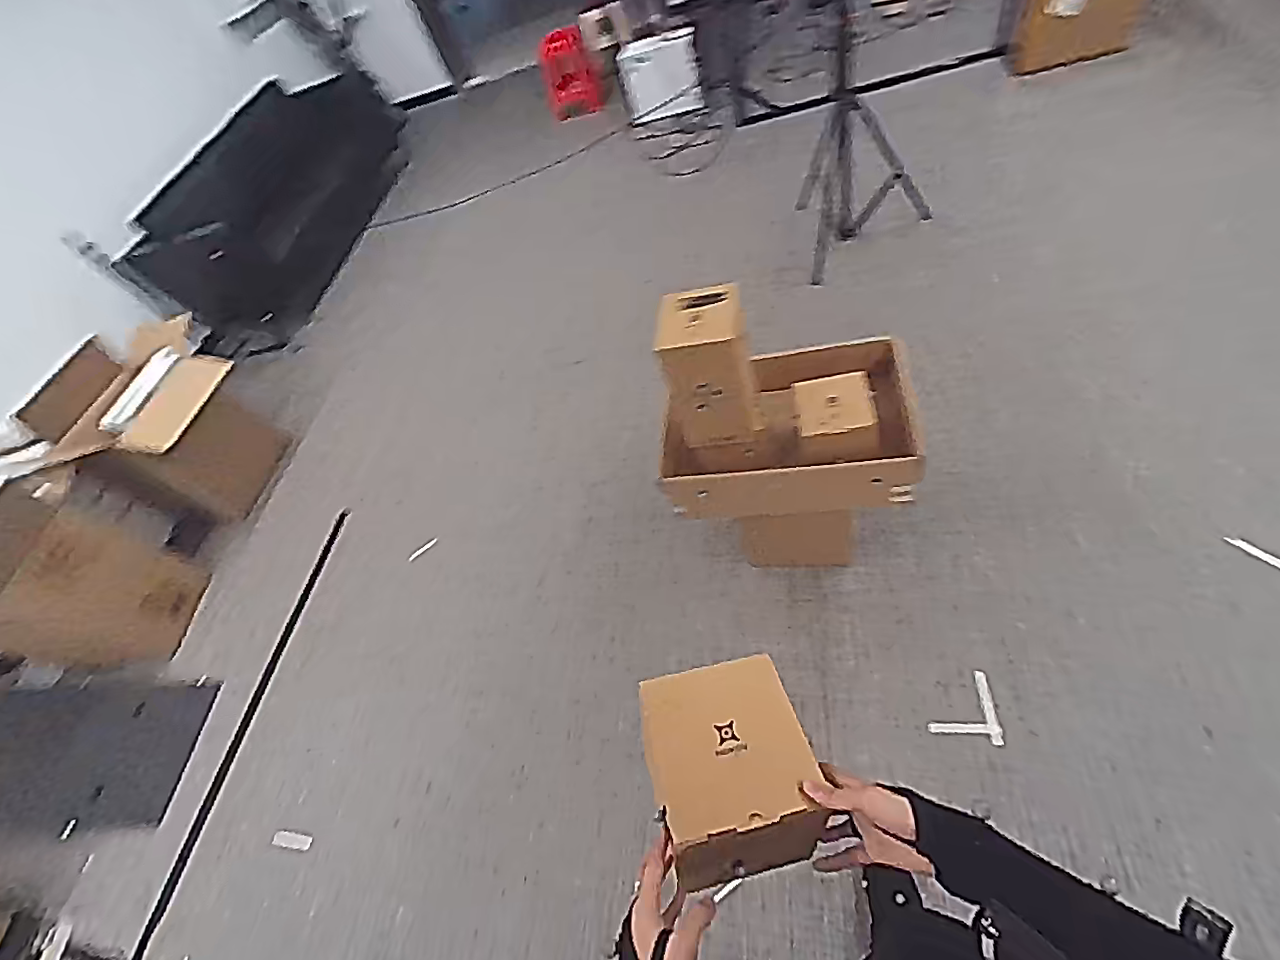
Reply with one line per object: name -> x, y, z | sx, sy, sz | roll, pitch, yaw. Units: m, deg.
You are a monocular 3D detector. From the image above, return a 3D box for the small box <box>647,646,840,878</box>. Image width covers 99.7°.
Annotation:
small box -> 0.105, 0.331, 0.640 | 0.168, 0.176, 0.179 | -10, 42, -8

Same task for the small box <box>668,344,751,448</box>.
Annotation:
small box -> 0.175, -0.199, 1.310 | 0.168, 0.176, 0.179 | -5, 54, 18
